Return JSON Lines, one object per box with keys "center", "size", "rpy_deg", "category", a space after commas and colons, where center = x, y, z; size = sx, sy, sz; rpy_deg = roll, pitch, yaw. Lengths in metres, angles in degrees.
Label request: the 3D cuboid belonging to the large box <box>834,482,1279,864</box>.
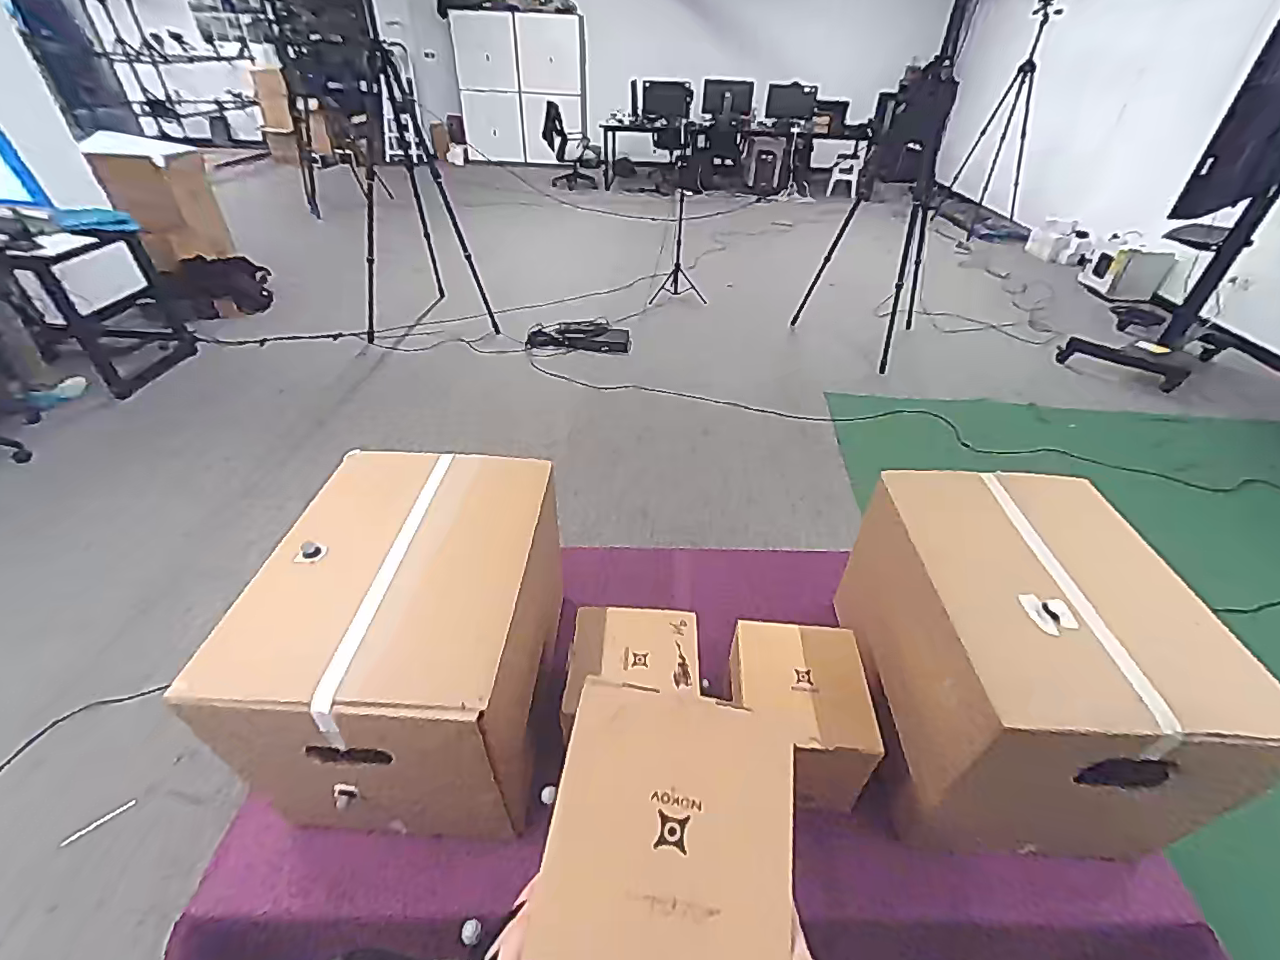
{"center": [0.508, 0.252, 0.766], "size": [0.320, 0.320, 0.408], "rpy_deg": [3, 39, 1], "category": "large box"}
